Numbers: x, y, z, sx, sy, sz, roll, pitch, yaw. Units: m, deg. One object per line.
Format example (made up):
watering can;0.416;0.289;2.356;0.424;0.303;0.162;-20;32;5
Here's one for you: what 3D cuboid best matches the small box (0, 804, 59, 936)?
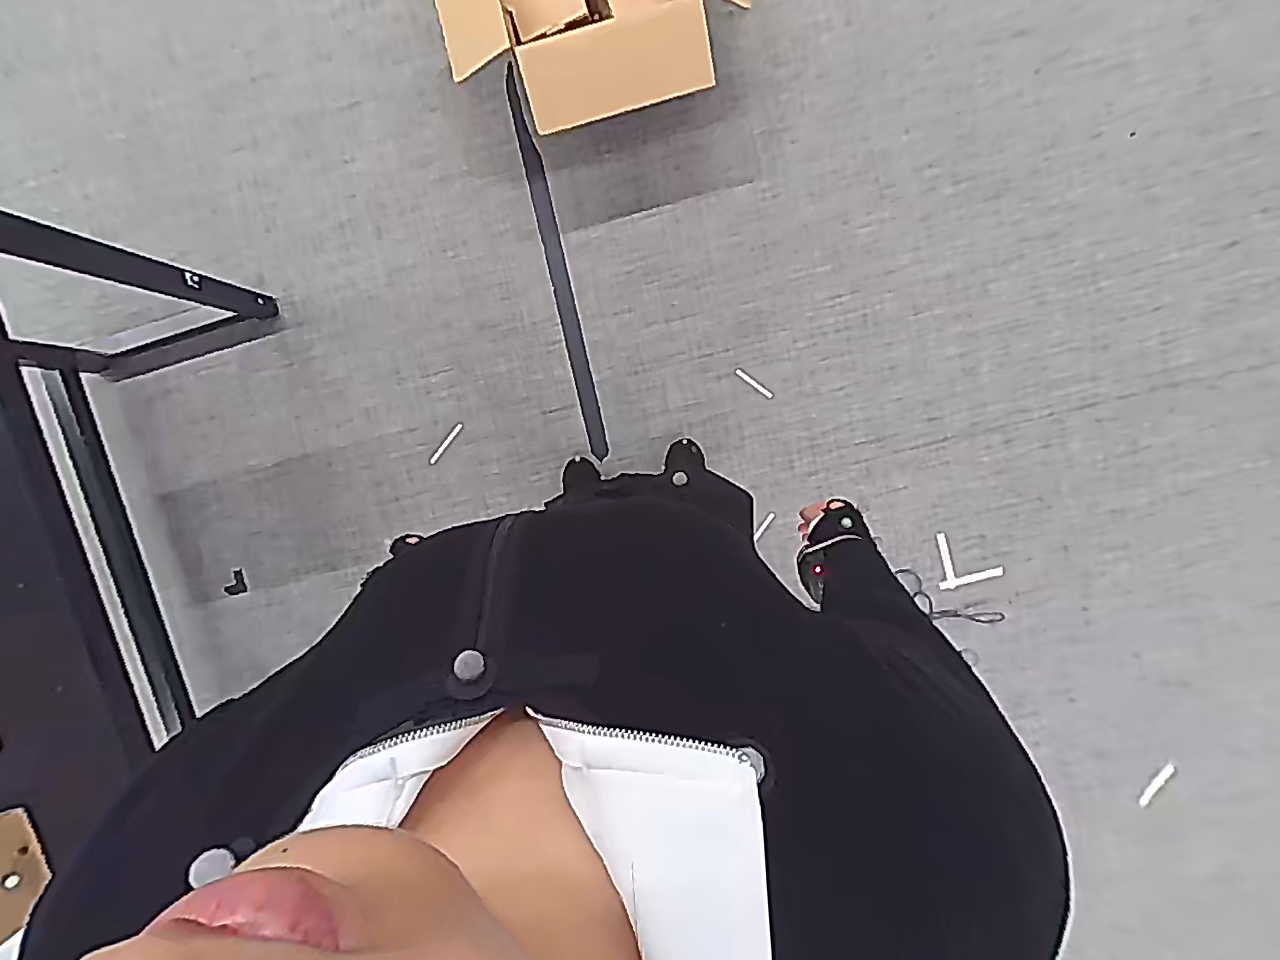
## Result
small box;-1.031;0.615;0.785;0.179;0.176;0.168;-16;95;3
